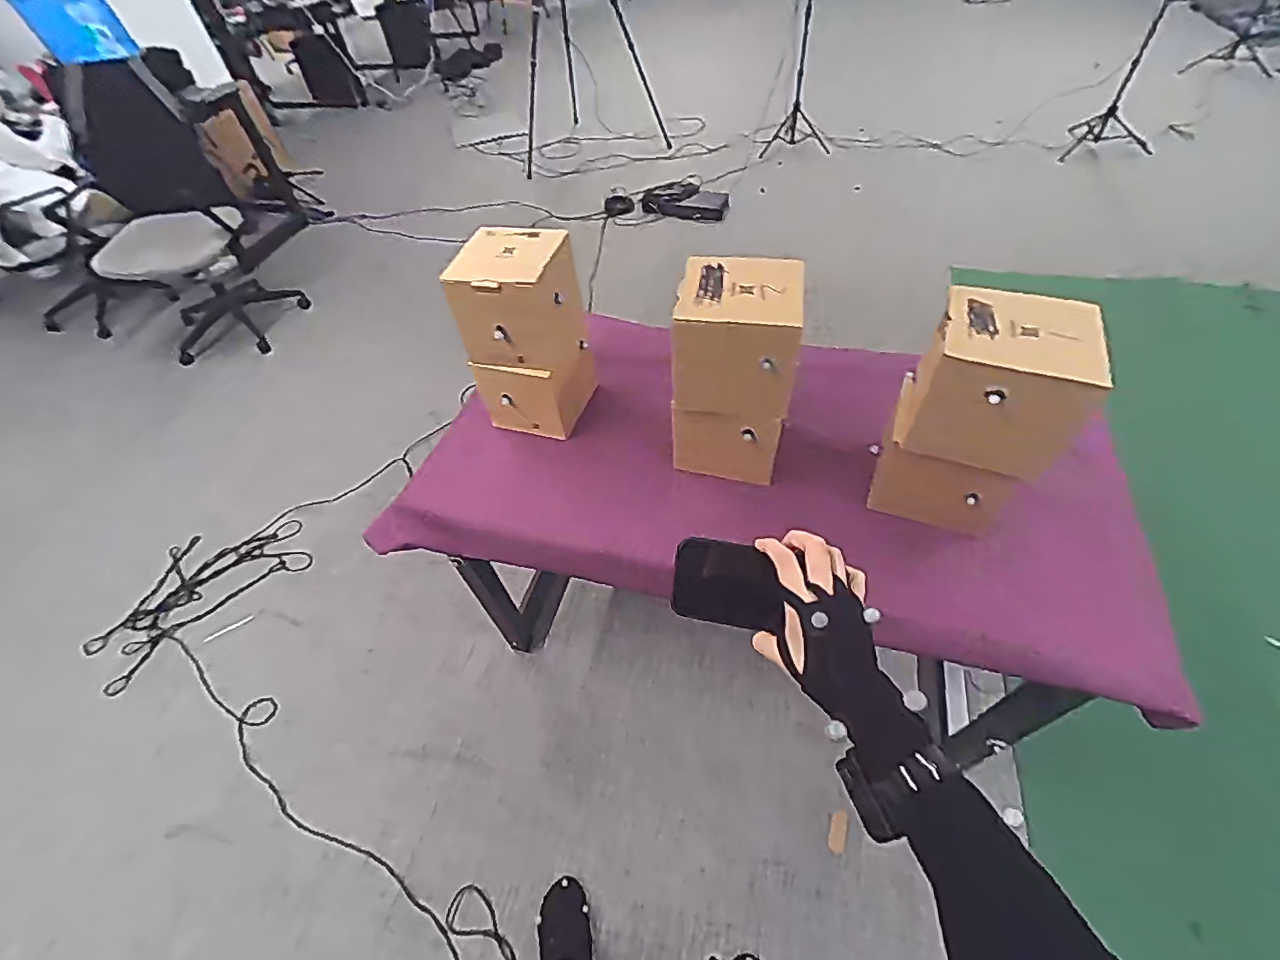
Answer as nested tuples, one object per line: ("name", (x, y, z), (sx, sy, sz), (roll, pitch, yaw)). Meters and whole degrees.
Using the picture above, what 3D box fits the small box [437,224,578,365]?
("small box", (-0.217, -0.322, 0.947), (0.168, 0.176, 0.179), (9, 53, 11))

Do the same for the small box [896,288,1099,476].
("small box", (0.465, -0.129, 0.727), (0.179, 0.176, 0.168), (17, 55, 18))

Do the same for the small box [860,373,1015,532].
("small box", (0.474, -0.039, 0.865), (0.179, 0.176, 0.168), (17, 54, 19))

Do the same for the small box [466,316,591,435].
("small box", (-0.207, -0.213, 1.070), (0.168, 0.176, 0.179), (12, 53, 15))

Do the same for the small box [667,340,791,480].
("small box", (0.156, -0.119, 0.958), (0.179, 0.176, 0.168), (12, 53, 15))
